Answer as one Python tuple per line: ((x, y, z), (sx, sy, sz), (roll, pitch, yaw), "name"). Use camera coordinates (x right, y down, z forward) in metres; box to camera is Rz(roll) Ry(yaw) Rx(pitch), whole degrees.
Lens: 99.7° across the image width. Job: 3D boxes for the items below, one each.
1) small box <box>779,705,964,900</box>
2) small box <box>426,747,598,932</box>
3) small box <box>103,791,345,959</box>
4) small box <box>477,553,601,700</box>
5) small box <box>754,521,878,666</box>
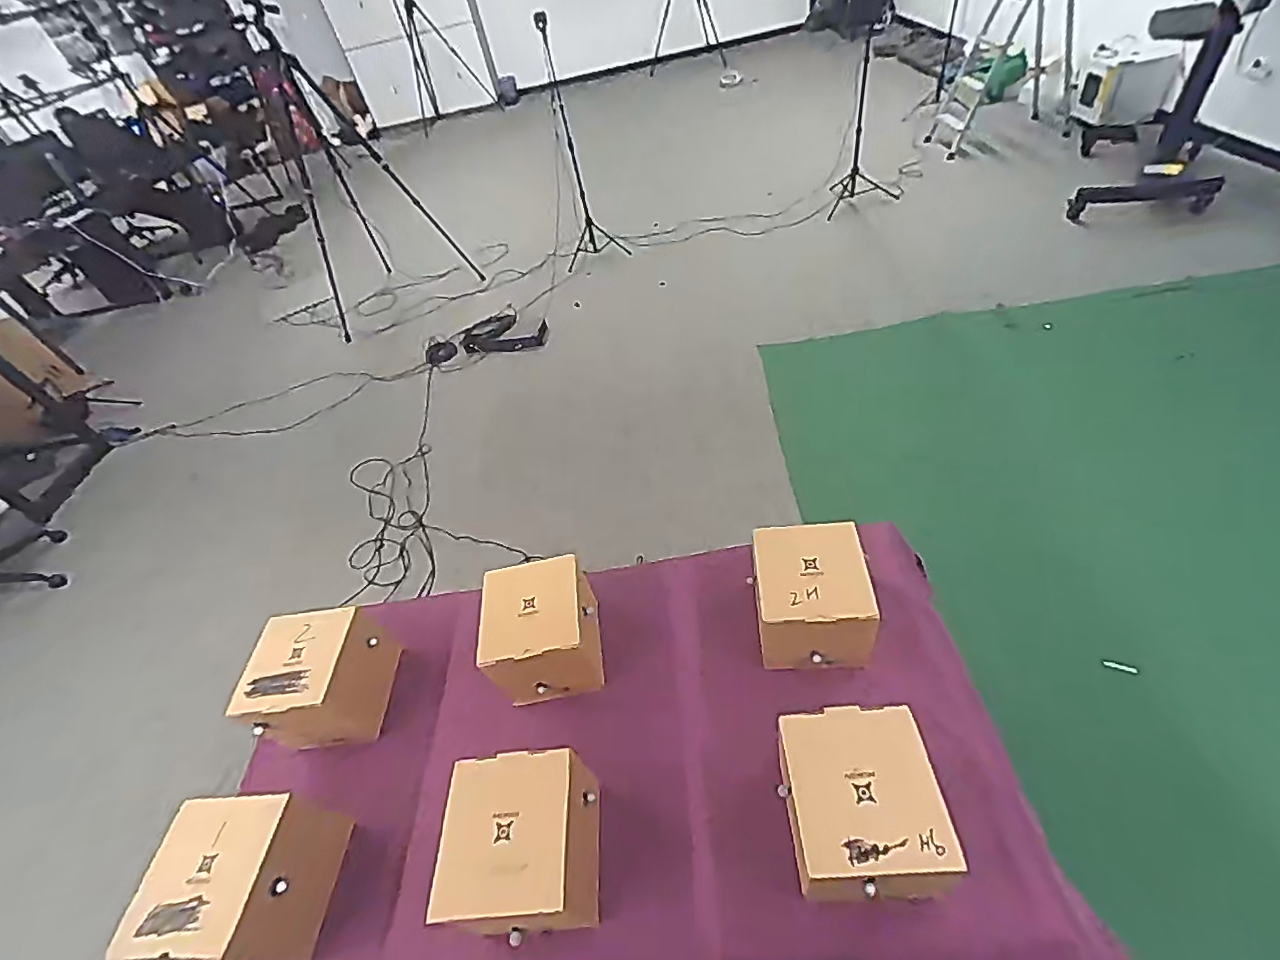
((0.274, 0.412, 0.689), (0.168, 0.176, 0.179), (-8, 45, 7), "small box")
((-0.155, 0.483, 0.726), (0.168, 0.176, 0.179), (-9, 46, 6), "small box")
((-0.548, 0.553, 0.748), (0.168, 0.176, 0.179), (-6, 45, 7), "small box")
((-0.168, 0.256, 0.940), (0.168, 0.176, 0.179), (-12, 48, 2), "small box")
((0.277, 0.190, 0.894), (0.168, 0.176, 0.179), (-5, 48, 10), "small box")
